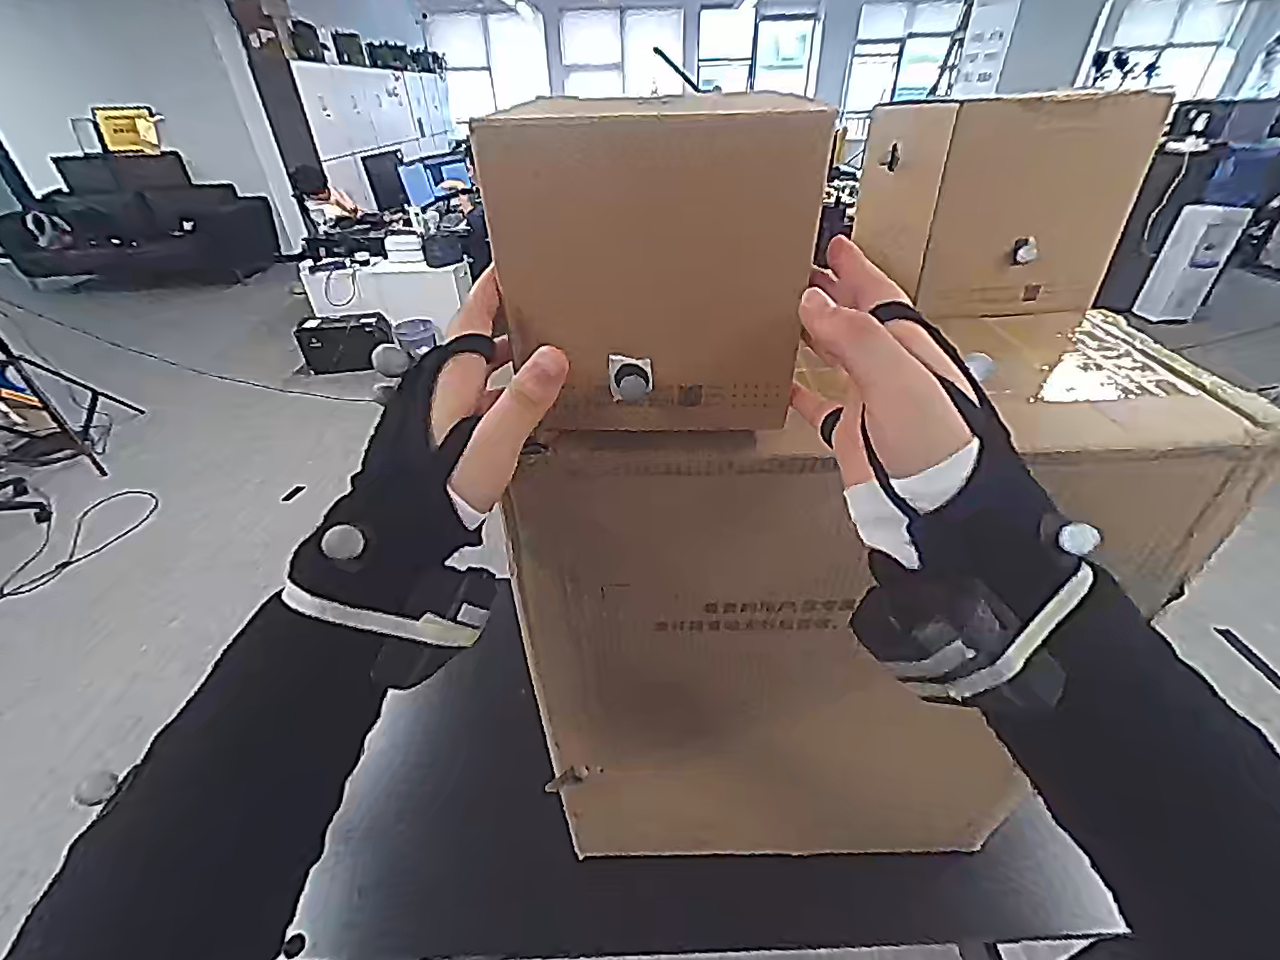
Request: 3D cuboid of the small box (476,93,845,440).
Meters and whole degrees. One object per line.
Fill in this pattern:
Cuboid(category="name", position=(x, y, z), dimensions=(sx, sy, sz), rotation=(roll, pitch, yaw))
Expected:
Cuboid(category="small box", position=(0.010, -0.141, 0.350), dimensions=(0.168, 0.176, 0.179), rotation=(-2, 39, 1))

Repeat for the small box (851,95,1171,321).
Cuboid(category="small box", position=(0.320, -0.260, 0.520), dimensions=(0.168, 0.176, 0.179), rotation=(-3, 34, 0))
